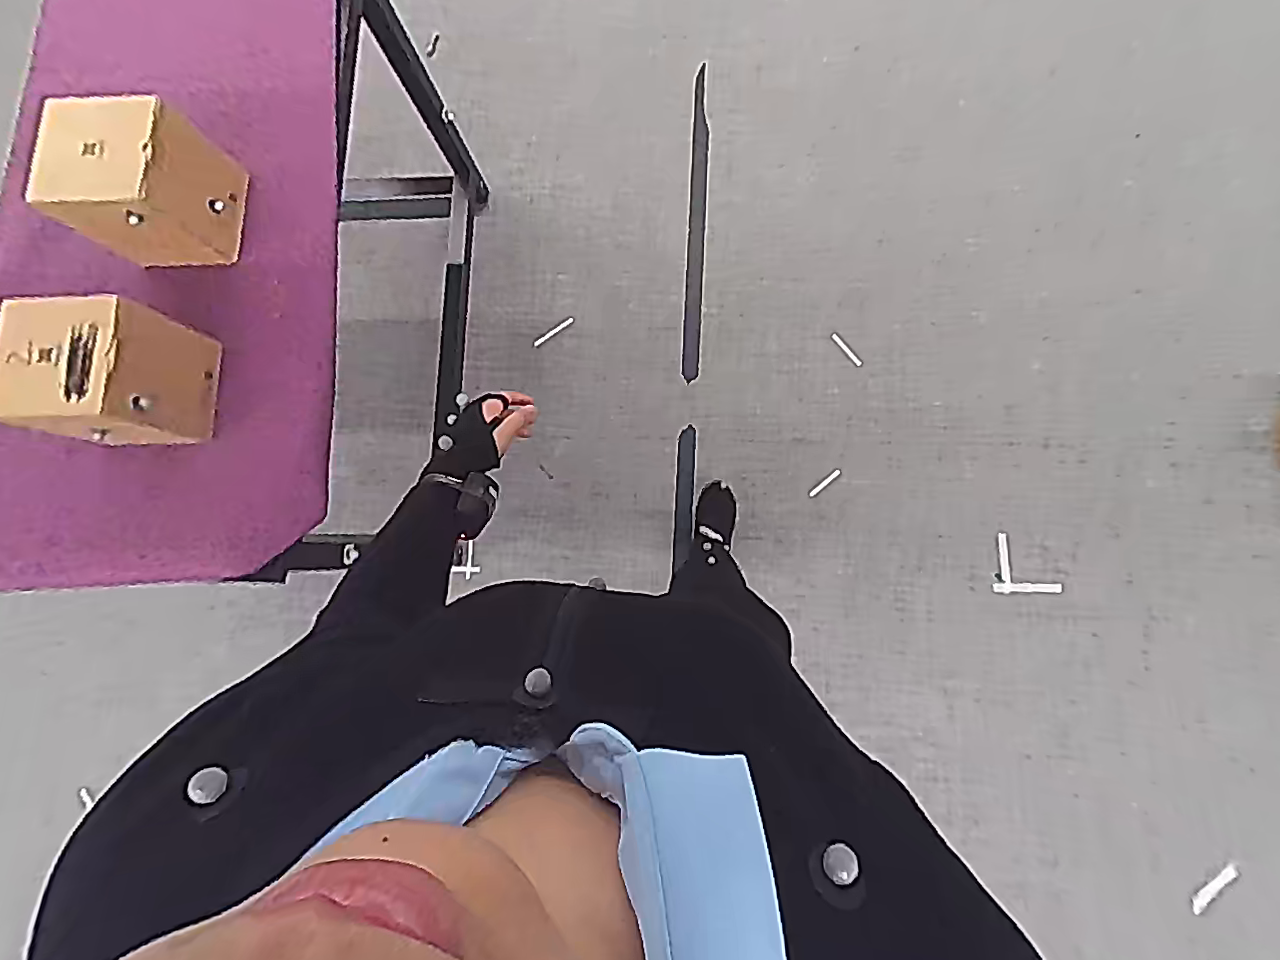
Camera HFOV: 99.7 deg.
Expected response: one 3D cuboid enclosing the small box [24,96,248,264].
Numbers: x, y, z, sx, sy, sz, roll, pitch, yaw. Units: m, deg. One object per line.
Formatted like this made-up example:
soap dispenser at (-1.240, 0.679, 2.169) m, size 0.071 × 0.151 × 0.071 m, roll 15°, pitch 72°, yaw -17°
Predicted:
small box at (-0.763, -0.452, 0.838) m, size 0.179 × 0.176 × 0.168 m, roll 1°, pitch 81°, yaw 4°
